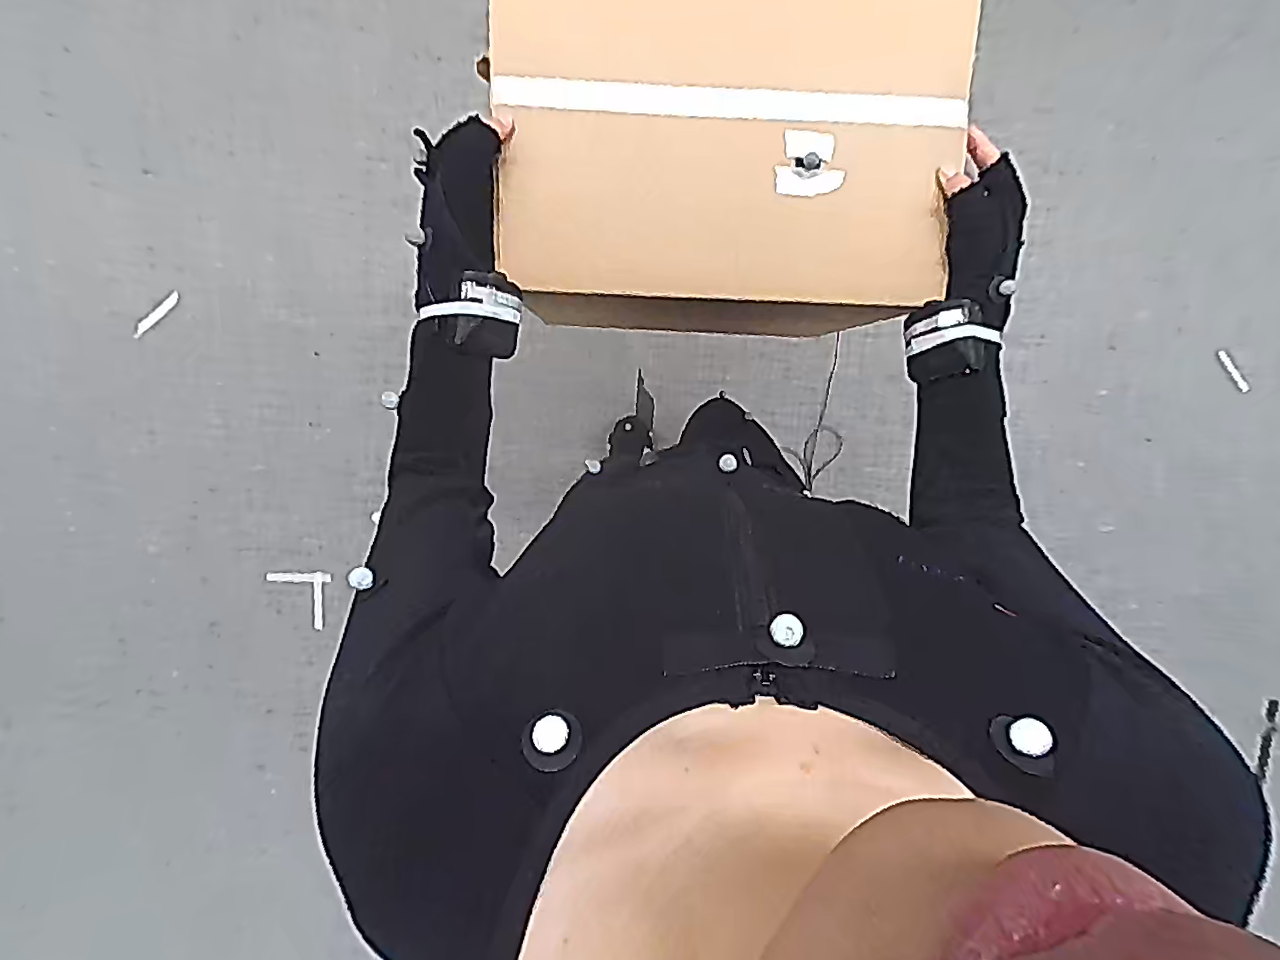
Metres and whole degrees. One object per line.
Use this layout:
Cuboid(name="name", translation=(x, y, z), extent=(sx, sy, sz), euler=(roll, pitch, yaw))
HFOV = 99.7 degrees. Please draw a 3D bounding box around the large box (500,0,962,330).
Cuboid(name="large box", translation=(0.071, -0.350, 0.622), extent=(0.408, 0.320, 0.320), euler=(1, 100, -3))
